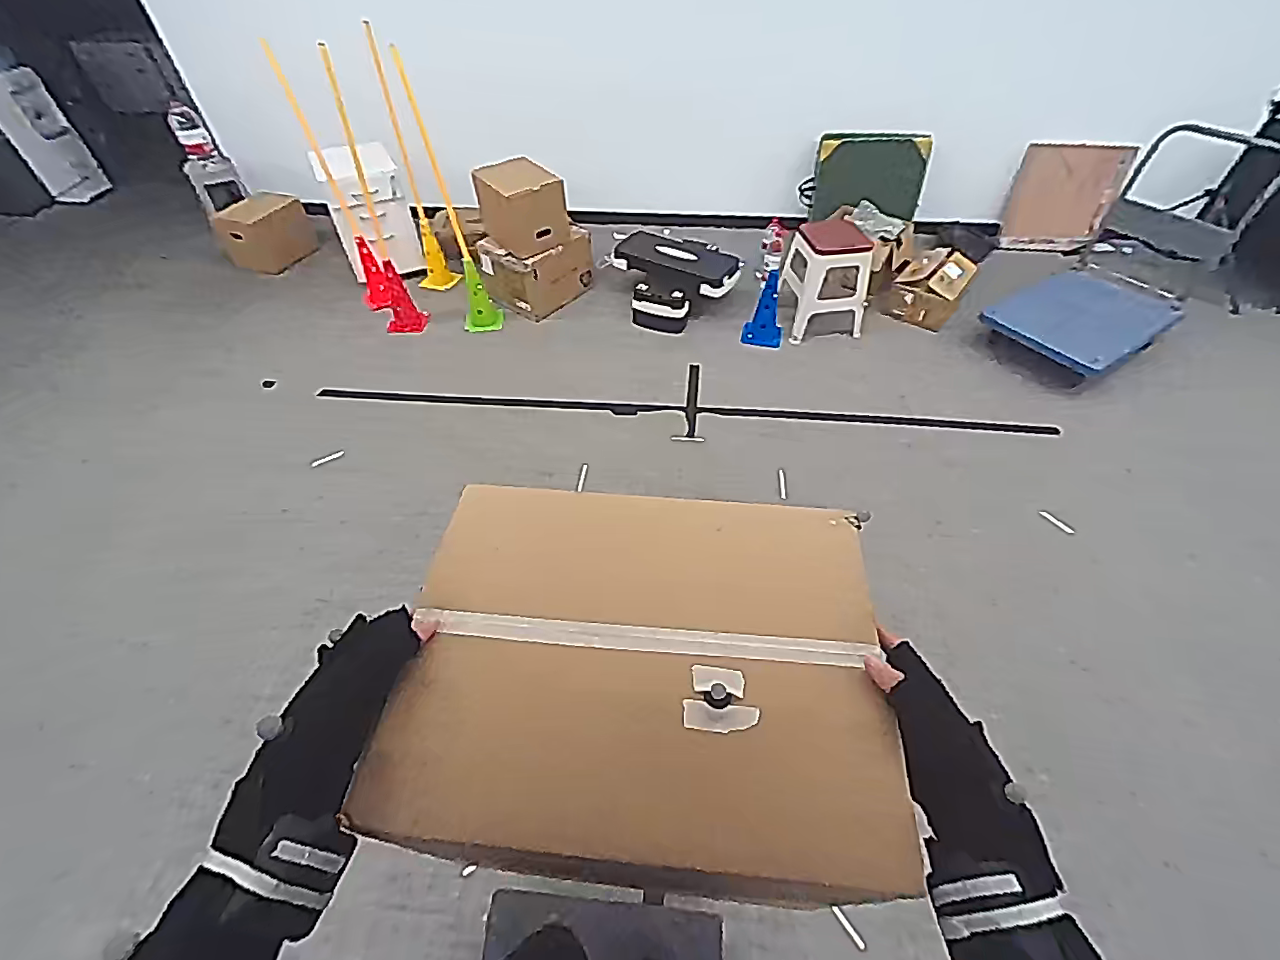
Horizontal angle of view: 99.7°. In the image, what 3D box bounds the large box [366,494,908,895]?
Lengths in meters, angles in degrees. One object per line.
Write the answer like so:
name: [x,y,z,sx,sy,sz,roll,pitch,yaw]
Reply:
large box: [0.005,0.238,0.596,0.408,0.320,0.320,4,51,4]
